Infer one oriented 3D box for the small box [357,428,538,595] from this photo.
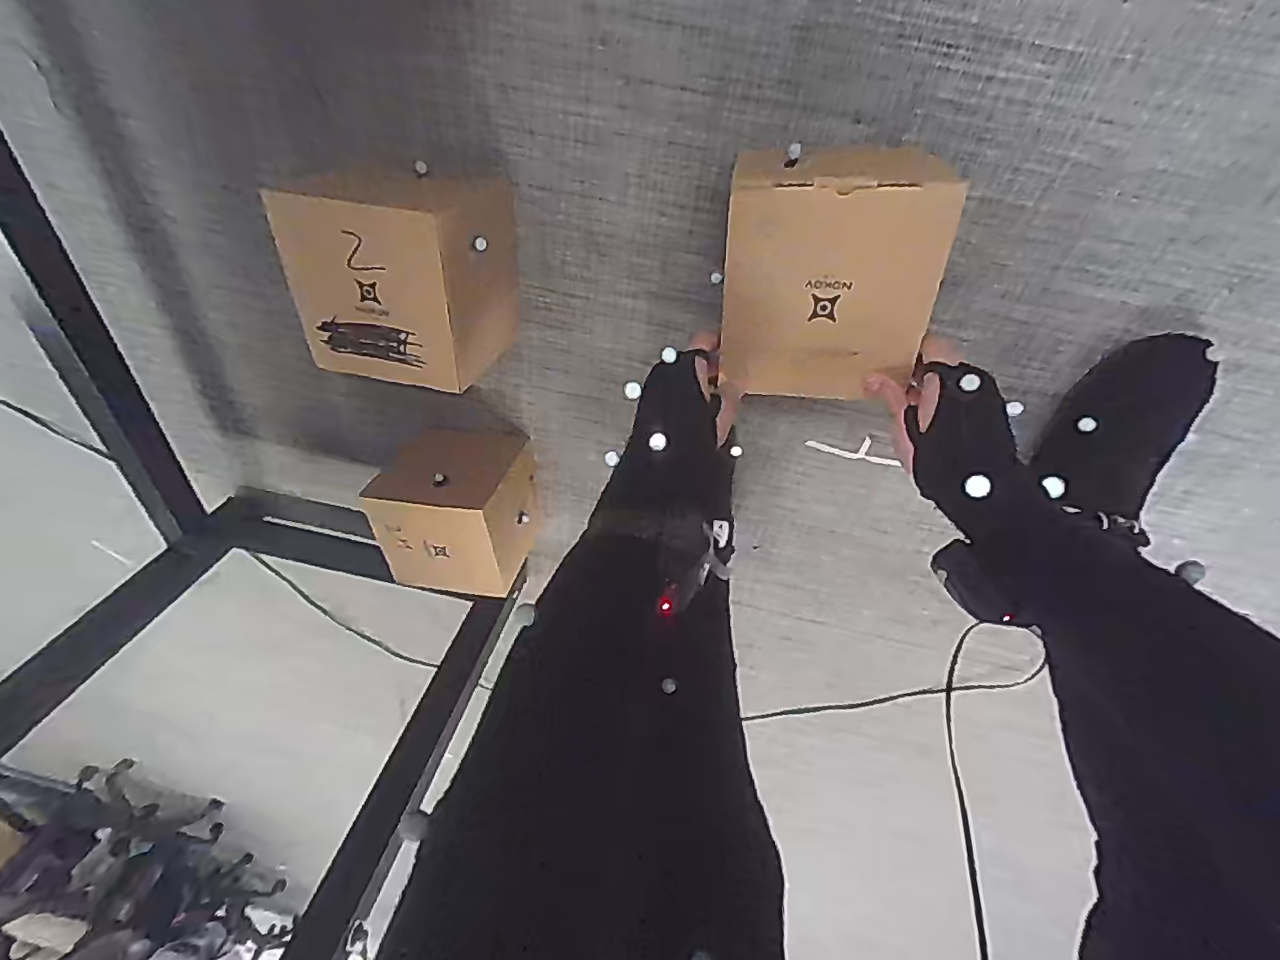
[{"bbox_3d":[-0.255,0.039,0.775,0.179,0.176,0.168,6,128,10],"label":"small box"}]
